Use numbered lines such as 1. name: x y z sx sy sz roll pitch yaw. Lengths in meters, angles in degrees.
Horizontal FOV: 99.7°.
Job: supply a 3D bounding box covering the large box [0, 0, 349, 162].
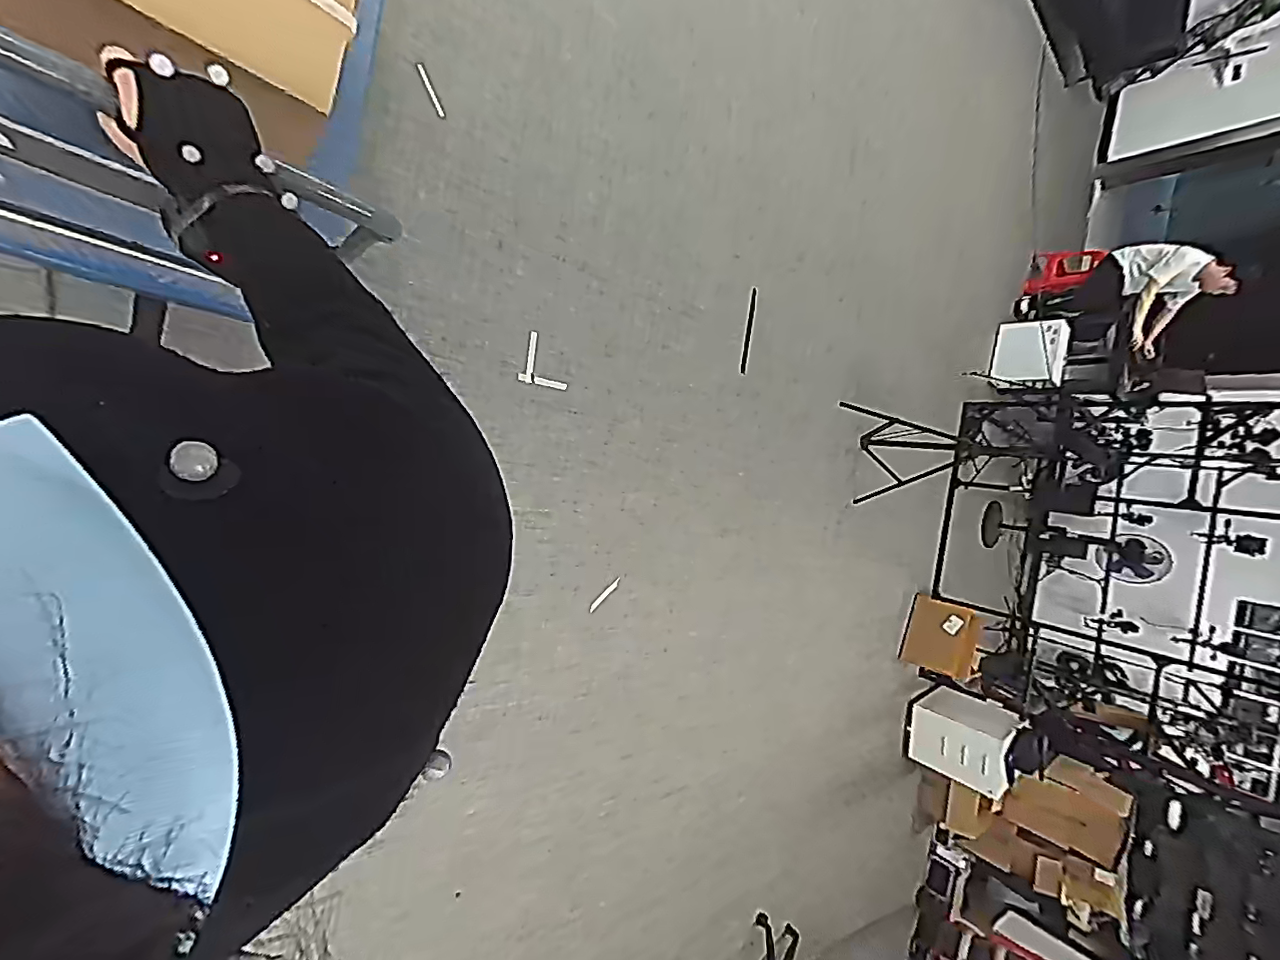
1. large box: -0.705 -0.787 0.839 0.408 0.320 0.320 13 87 -40
